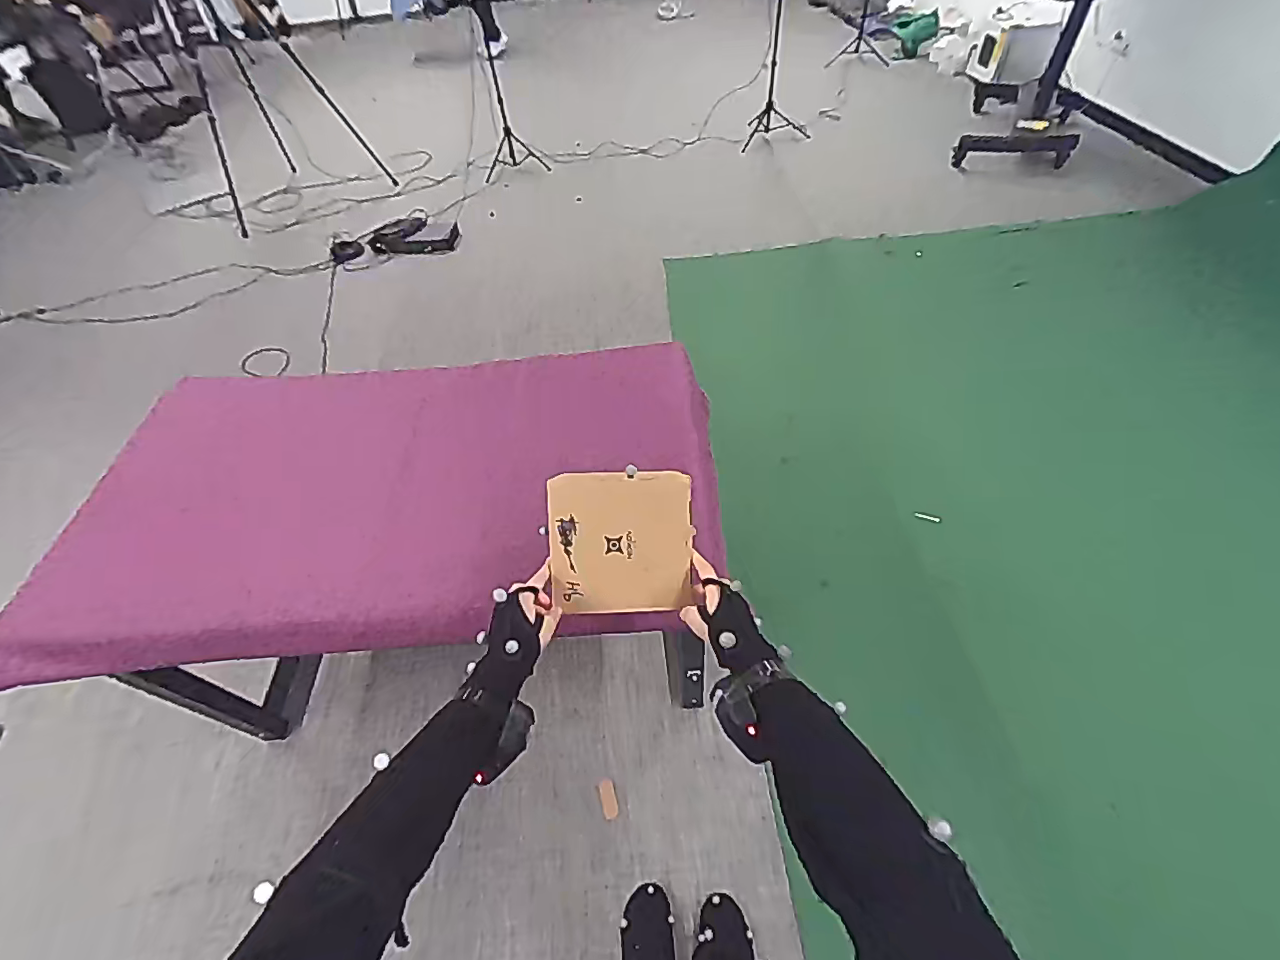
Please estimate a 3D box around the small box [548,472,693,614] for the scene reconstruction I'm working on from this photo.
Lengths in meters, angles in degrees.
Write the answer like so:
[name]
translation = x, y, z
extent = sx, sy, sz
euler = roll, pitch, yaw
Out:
[small box]
translation = -0.027, 0.076, 0.736
extent = 0.179, 0.176, 0.168
euler = -1, 93, -3
